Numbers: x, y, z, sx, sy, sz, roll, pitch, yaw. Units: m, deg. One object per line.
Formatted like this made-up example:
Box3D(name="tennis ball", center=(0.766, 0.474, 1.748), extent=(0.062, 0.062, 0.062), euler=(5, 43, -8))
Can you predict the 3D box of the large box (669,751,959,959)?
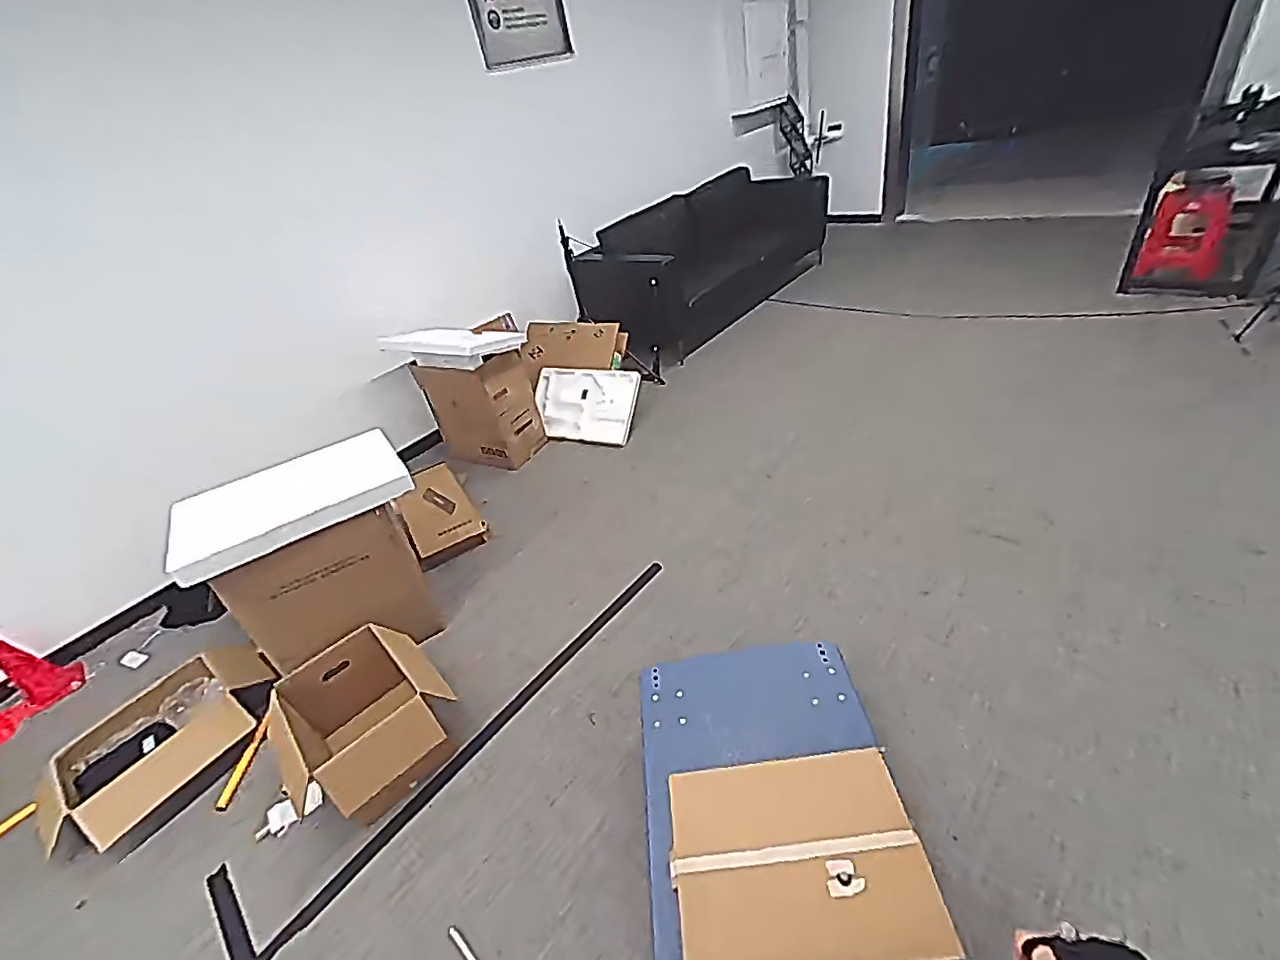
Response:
Box3D(name="large box", center=(0.281, 0.751, 0.990), extent=(0.408, 0.320, 0.320), euler=(-9, 35, 3))
